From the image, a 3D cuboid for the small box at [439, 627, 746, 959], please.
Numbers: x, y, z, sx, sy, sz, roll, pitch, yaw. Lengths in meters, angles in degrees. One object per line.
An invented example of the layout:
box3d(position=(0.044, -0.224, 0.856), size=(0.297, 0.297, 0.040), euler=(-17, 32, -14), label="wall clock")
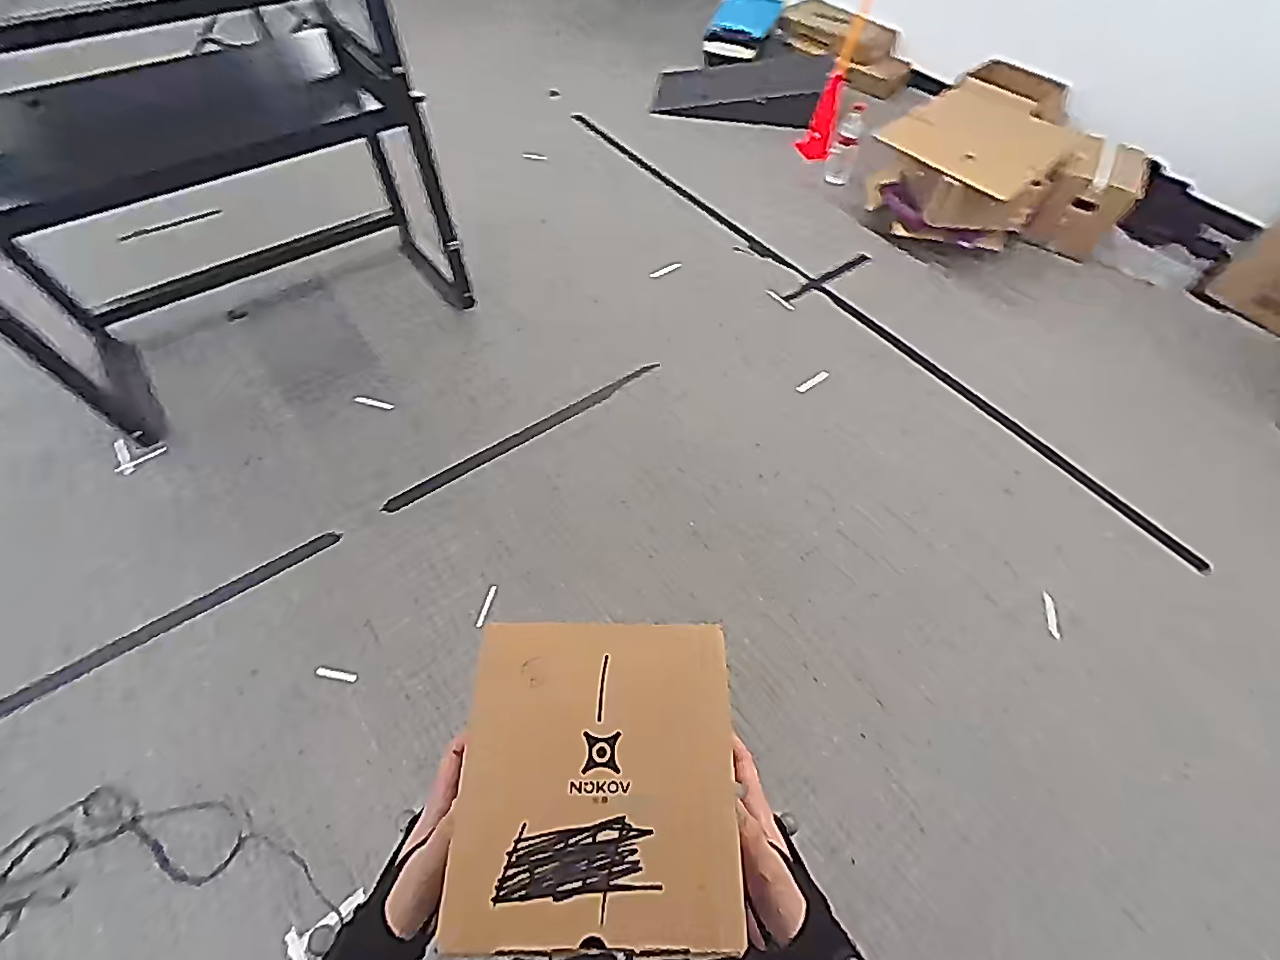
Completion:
box3d(position=(-0.027, 0.214, 0.392), size=(0.168, 0.176, 0.179), euler=(1, 60, -3), label="small box")
